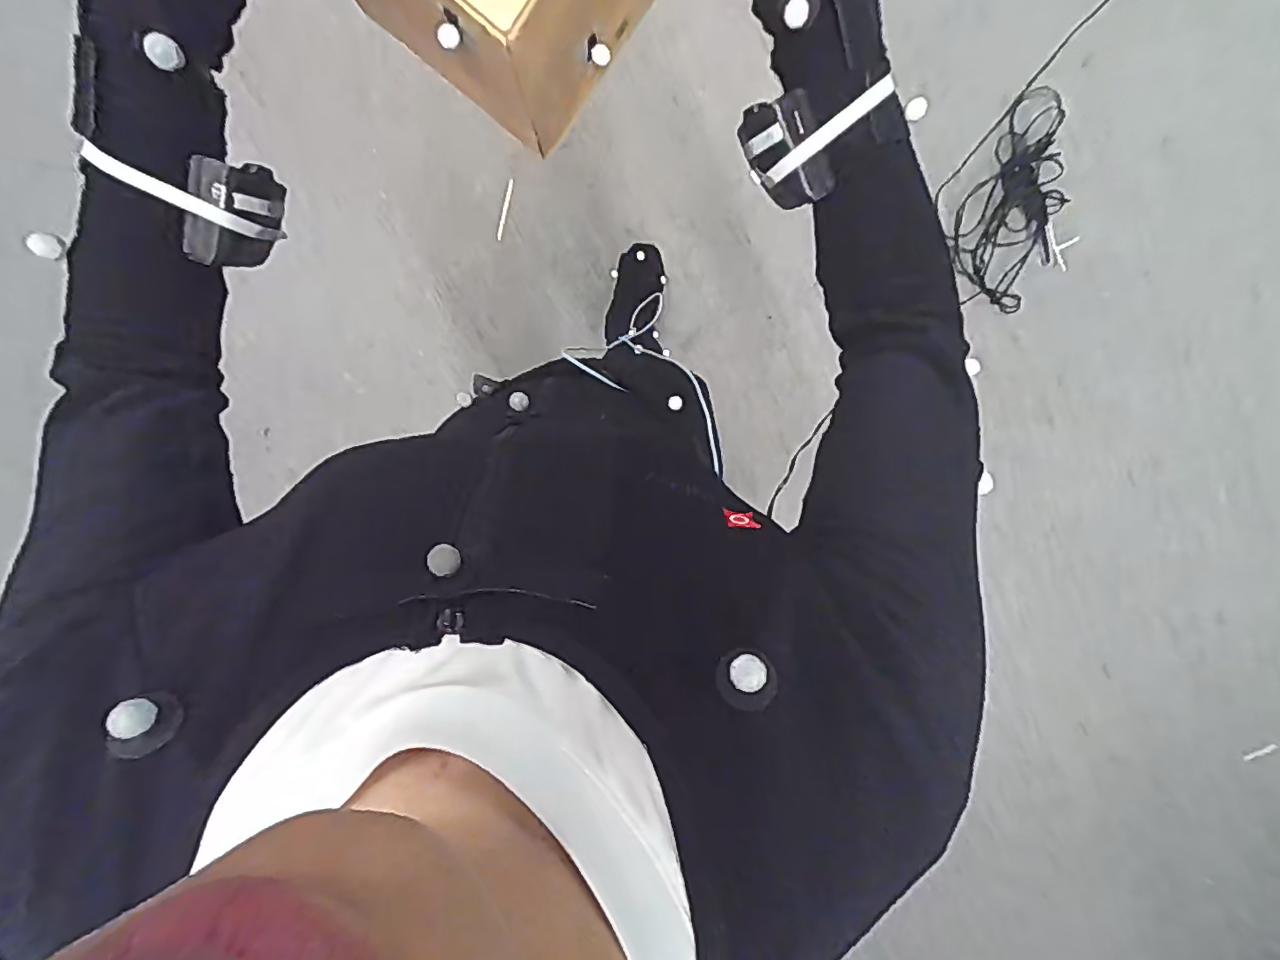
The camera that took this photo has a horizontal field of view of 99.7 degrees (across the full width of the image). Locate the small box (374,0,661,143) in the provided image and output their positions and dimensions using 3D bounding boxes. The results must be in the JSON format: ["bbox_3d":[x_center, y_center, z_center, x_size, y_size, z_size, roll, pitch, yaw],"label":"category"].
[{"bbox_3d":[-0.087,-0.364,0.345,0.179,0.176,0.168,36,97,-10],"label":"small box"}]
